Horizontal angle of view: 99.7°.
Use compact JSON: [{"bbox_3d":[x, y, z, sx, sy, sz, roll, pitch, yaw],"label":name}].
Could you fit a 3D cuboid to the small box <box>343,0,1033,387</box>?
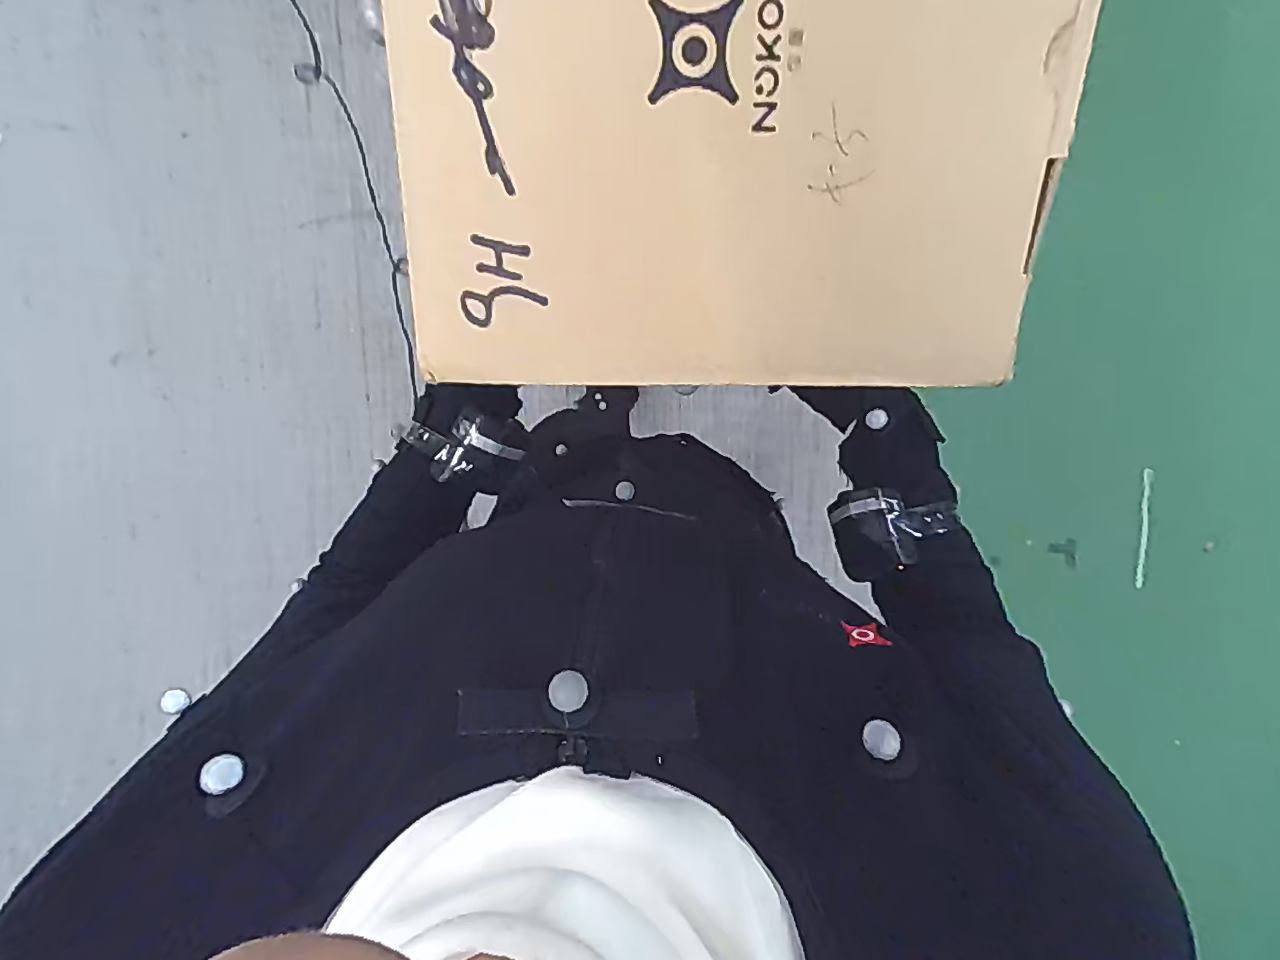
[{"bbox_3d":[0.012,-0.132,0.215,0.179,0.176,0.168,2,106,0],"label":"small box"}]
